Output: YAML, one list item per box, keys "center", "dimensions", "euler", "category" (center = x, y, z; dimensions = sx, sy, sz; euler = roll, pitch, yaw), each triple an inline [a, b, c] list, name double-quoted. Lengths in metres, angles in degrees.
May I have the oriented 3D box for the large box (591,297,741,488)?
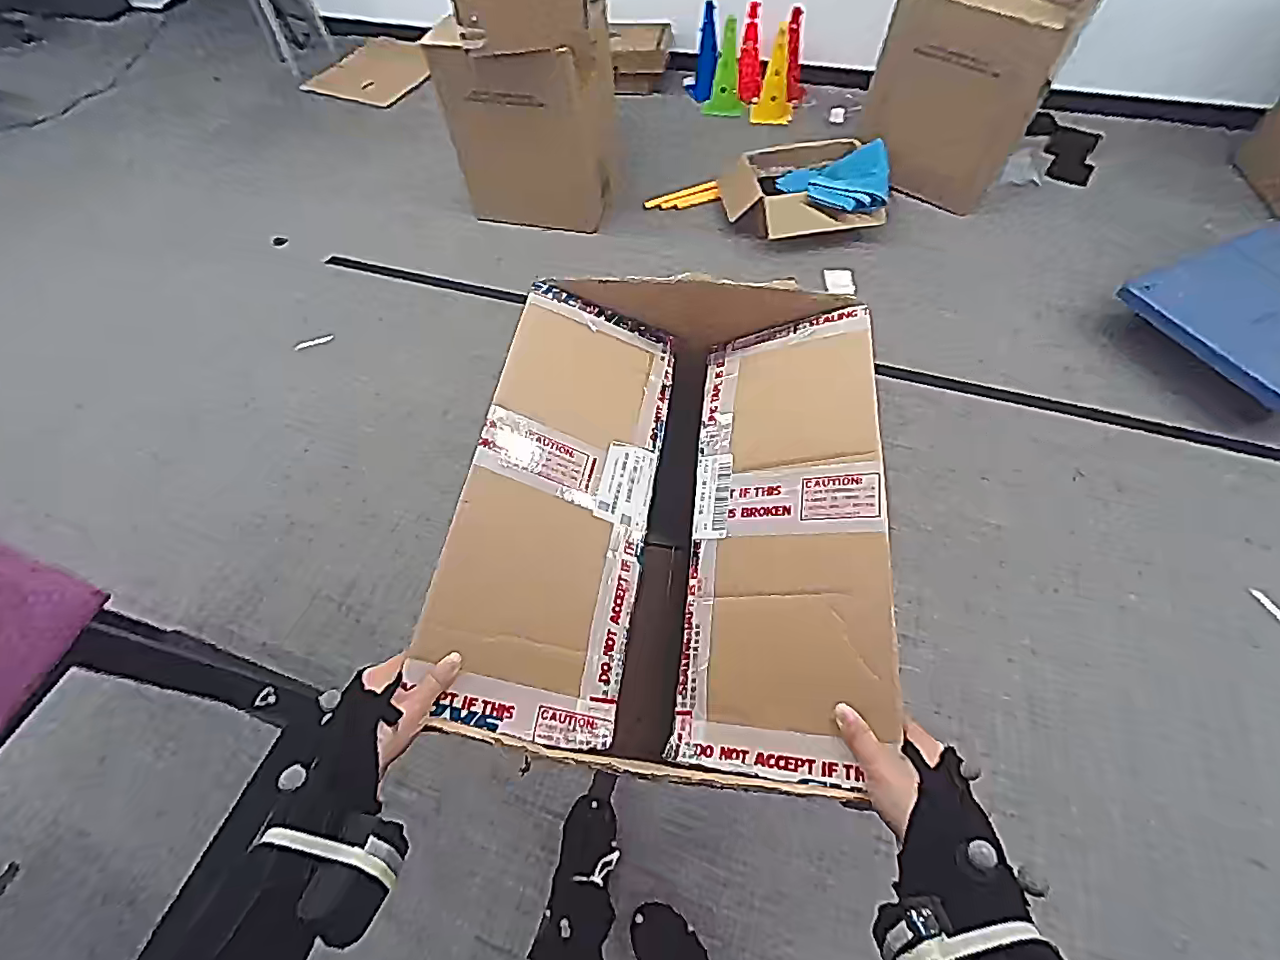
- center: [0.083, -0.250, 1.550]
  dimensions: [0.320, 0.320, 0.408]
  euler: [14, 61, 12]
  category: "large box"
